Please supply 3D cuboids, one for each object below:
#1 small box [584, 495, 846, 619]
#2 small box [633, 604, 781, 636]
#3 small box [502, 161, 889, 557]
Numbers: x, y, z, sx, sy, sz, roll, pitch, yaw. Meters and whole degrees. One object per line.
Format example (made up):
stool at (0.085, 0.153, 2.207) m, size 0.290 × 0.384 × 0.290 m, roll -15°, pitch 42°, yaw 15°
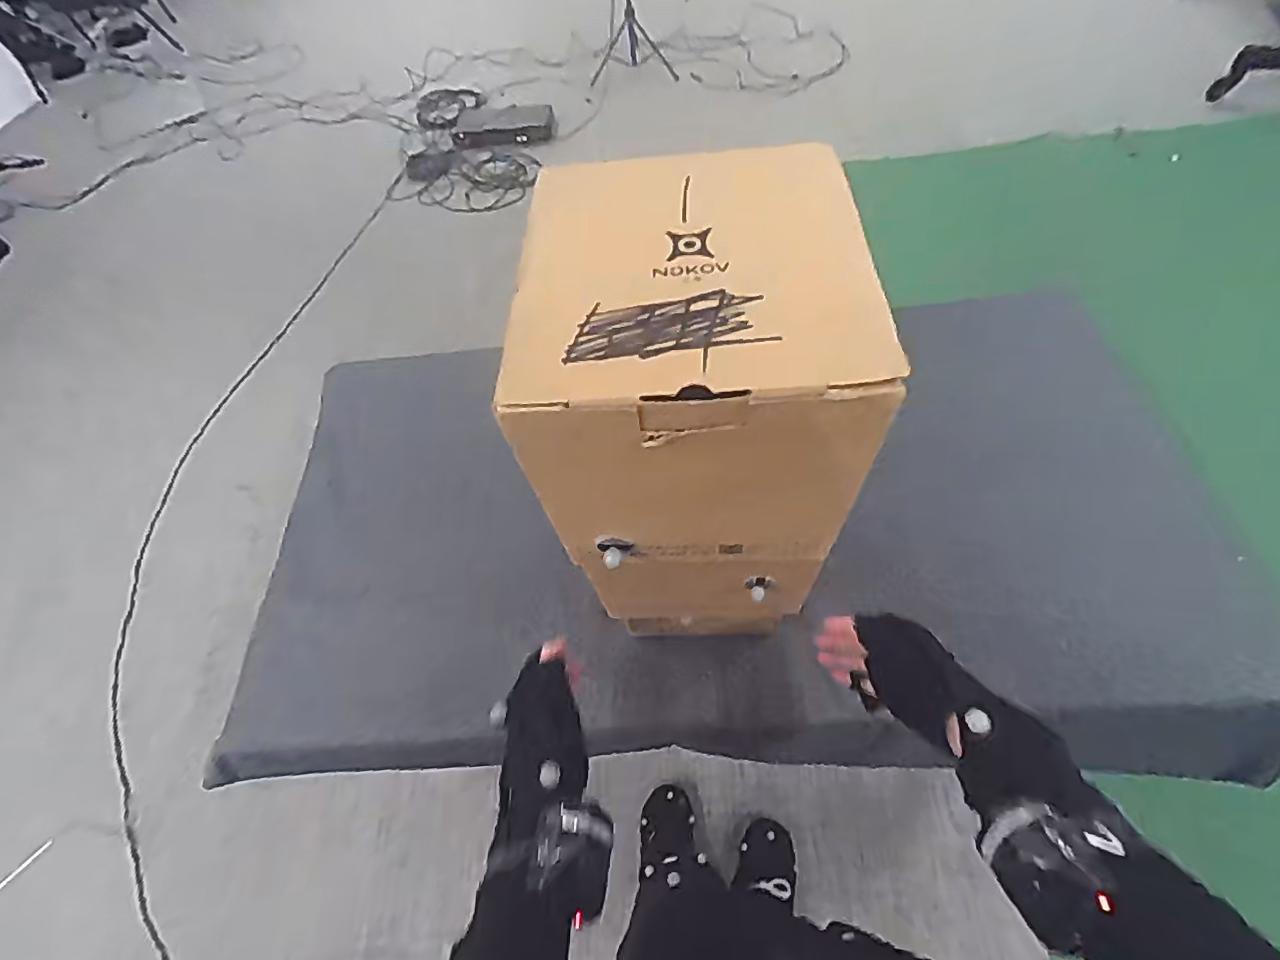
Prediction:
small box at (0.051, 0.012, 0.462) m, size 0.179 × 0.176 × 0.168 m, roll -6°, pitch 59°, yaw 3°
small box at (0.069, 0.077, 0.632) m, size 0.179 × 0.176 × 0.168 m, roll -5°, pitch 58°, yaw 3°
small box at (0.031, -0.060, 0.334) m, size 0.168 × 0.176 × 0.179 m, roll -2°, pitch 58°, yaw 5°
